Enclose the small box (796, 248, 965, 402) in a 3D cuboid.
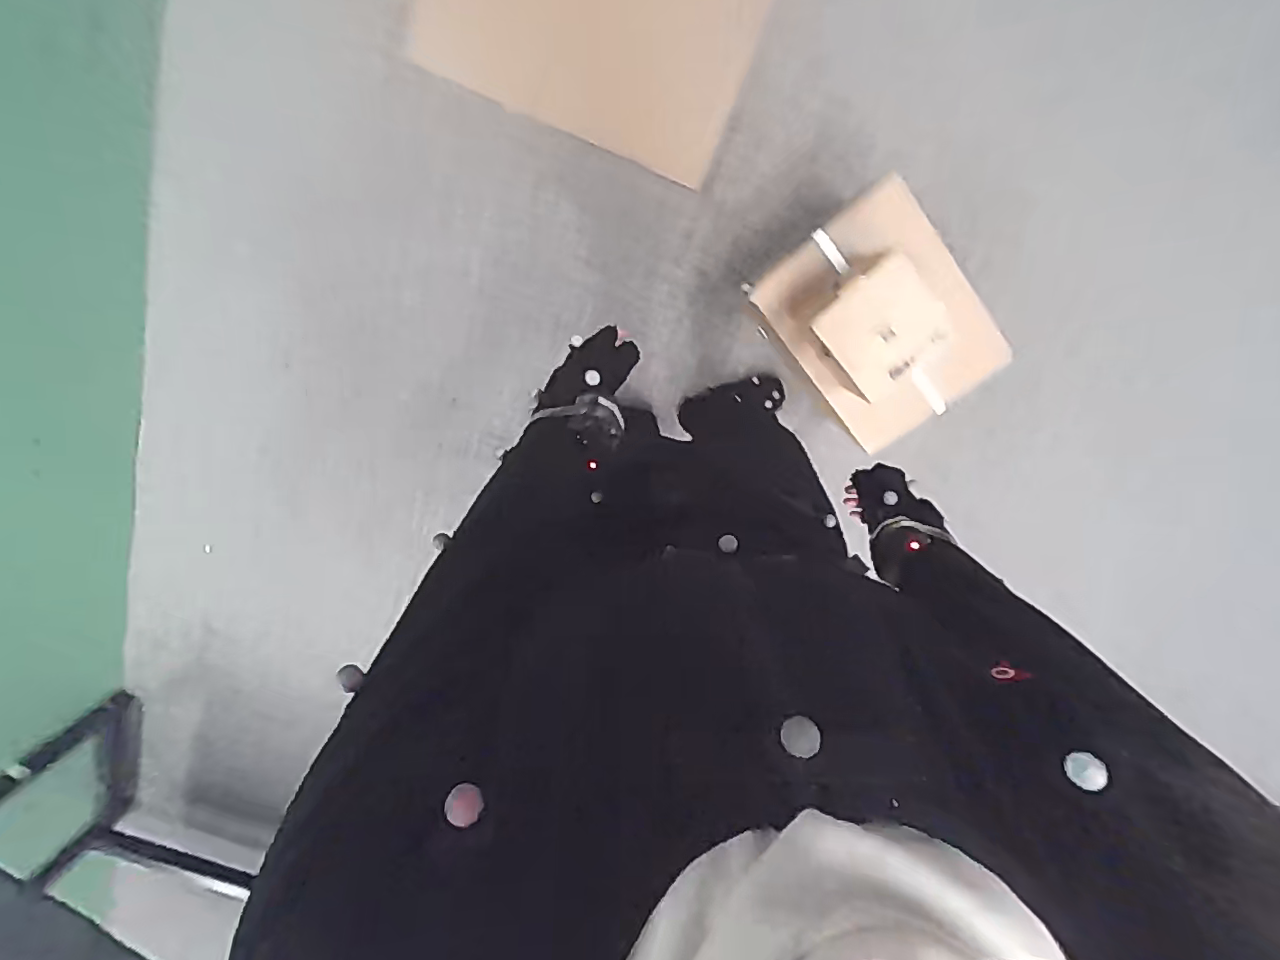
[{"bbox_3d":[0.392,-0.259,0.916,0.168,0.176,0.179,-43,101,15],"label":"small box"}]
